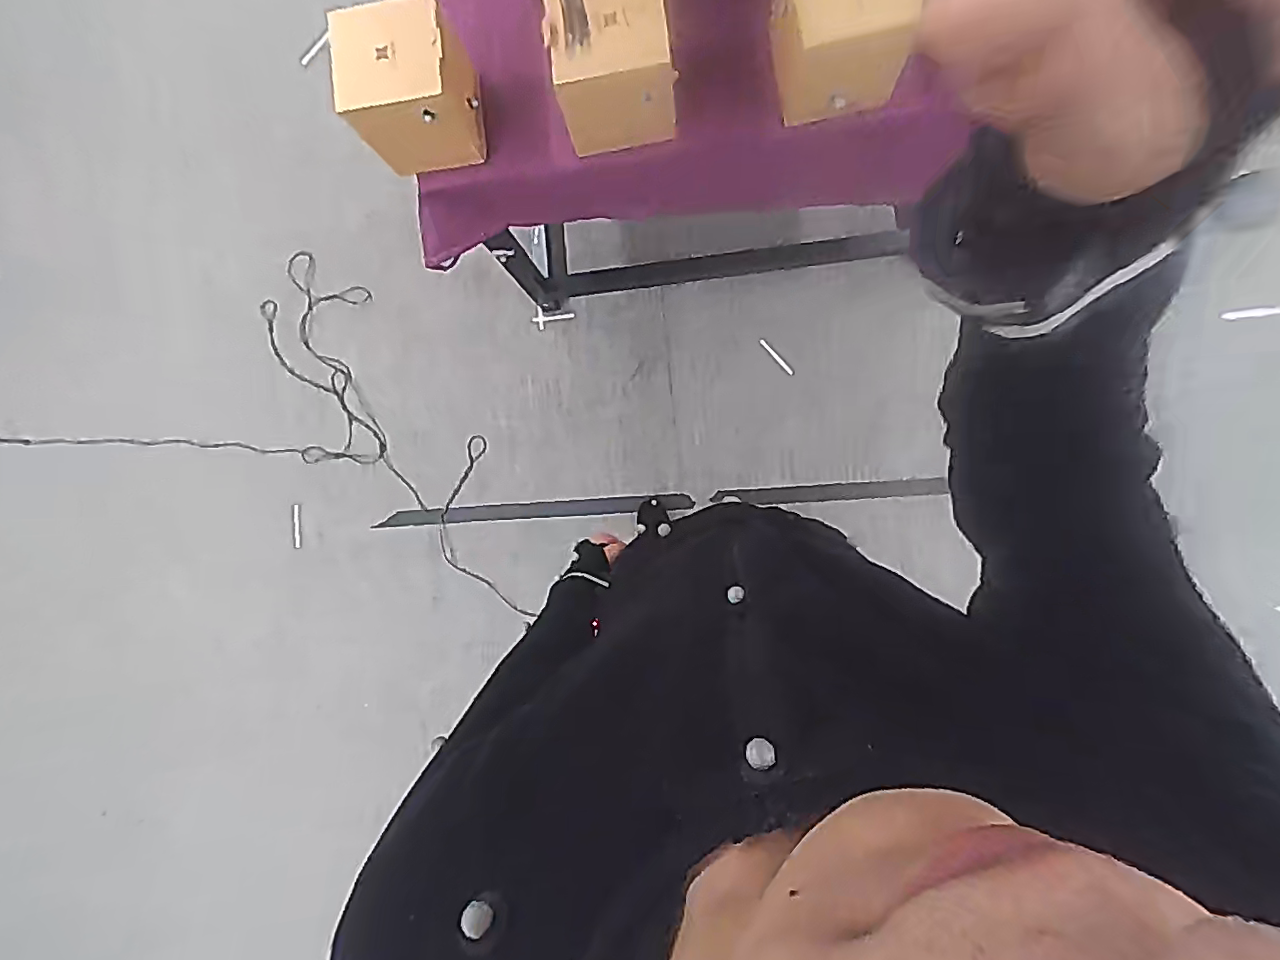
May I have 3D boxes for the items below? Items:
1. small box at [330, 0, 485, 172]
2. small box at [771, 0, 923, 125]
[{"bbox_3d":[-0.378,-0.644,0.899,0.179,0.176,0.168,-6,87,5],"label":"small box"},{"bbox_3d":[0.300,-0.690,0.821,0.168,0.176,0.179,-9,88,7],"label":"small box"}]
